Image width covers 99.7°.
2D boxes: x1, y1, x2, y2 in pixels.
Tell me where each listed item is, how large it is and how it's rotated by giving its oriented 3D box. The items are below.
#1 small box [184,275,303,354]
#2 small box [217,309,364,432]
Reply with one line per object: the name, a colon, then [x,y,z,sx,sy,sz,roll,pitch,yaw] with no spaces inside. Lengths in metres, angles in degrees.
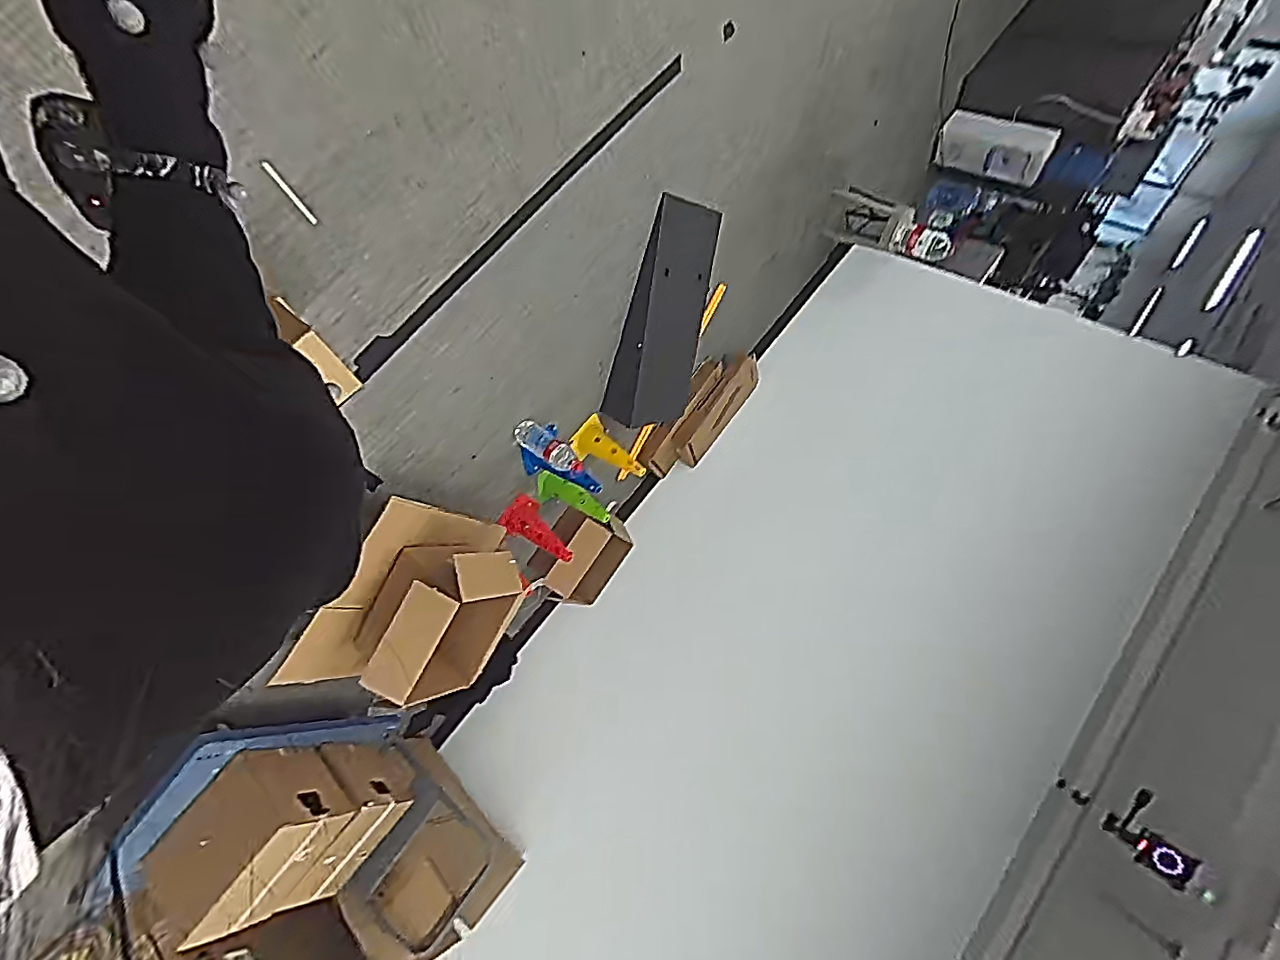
small box: [-0.870,-0.332,1.225,0.179,0.176,0.168,-47,154,-18]
small box: [-0.750,-0.242,1.162,0.168,0.176,0.179,-46,154,-16]
